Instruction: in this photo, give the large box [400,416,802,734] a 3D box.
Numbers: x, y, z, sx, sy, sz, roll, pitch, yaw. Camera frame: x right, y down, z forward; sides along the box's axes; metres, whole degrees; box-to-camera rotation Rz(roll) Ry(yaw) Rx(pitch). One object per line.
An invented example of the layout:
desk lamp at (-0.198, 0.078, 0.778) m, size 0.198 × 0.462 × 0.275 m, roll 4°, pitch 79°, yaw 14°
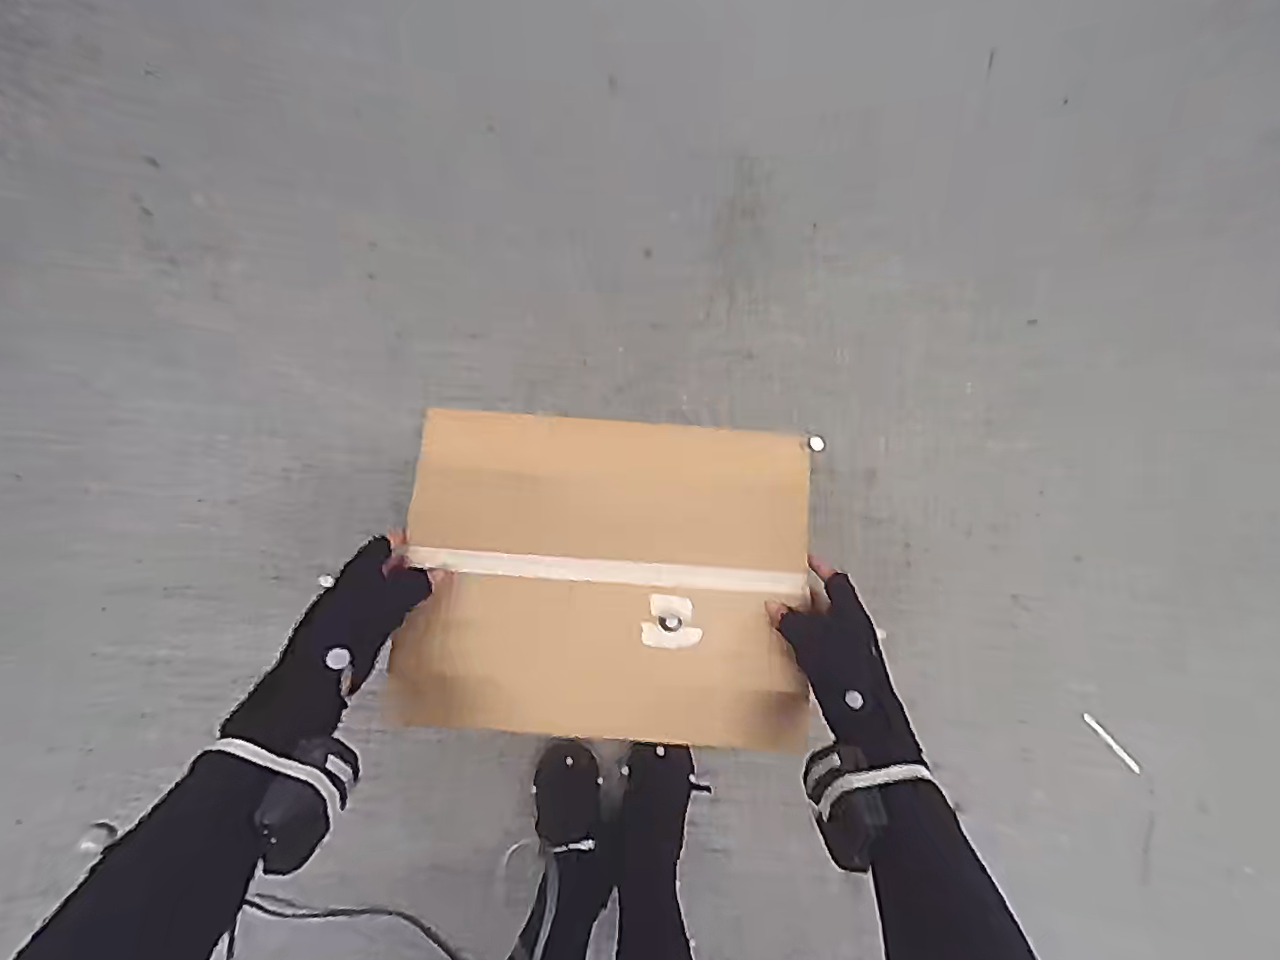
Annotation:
large box at (-0.035, 0.123, 0.706) m, size 0.408 × 0.320 × 0.320 m, roll 4°, pitch 78°, yaw -1°
